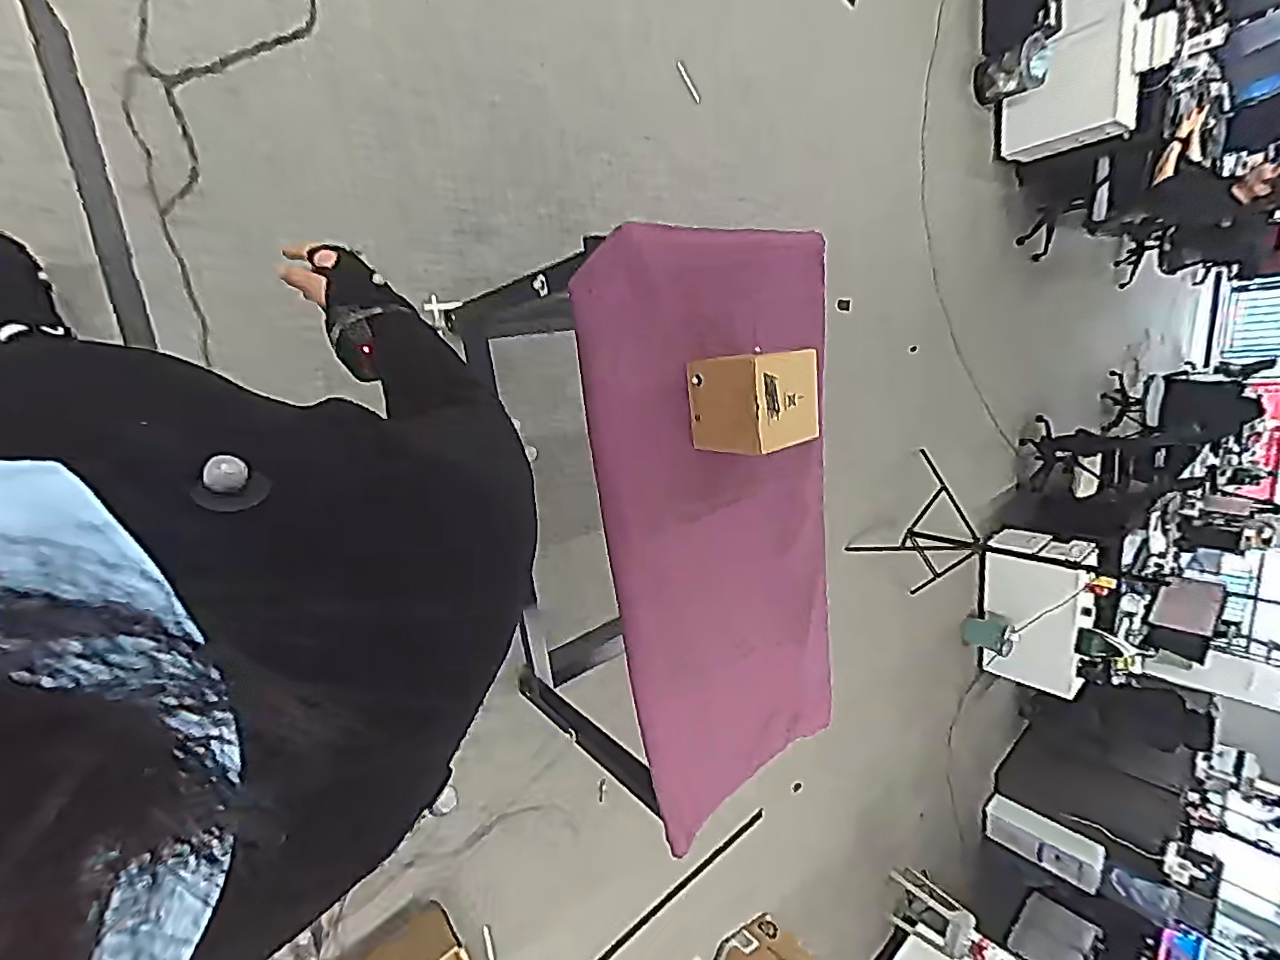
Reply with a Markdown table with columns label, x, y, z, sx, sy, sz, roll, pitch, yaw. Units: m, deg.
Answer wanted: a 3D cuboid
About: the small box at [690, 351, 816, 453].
| label | x | y | z | sx | sy | sz | roll | pitch | yaw |
| --- | --- | --- | --- | --- | --- | --- | --- | --- | --- |
| small box | 0.208 | -0.150 | 1.025 | 0.179 | 0.176 | 0.168 | -17 | 107 | -36 |
